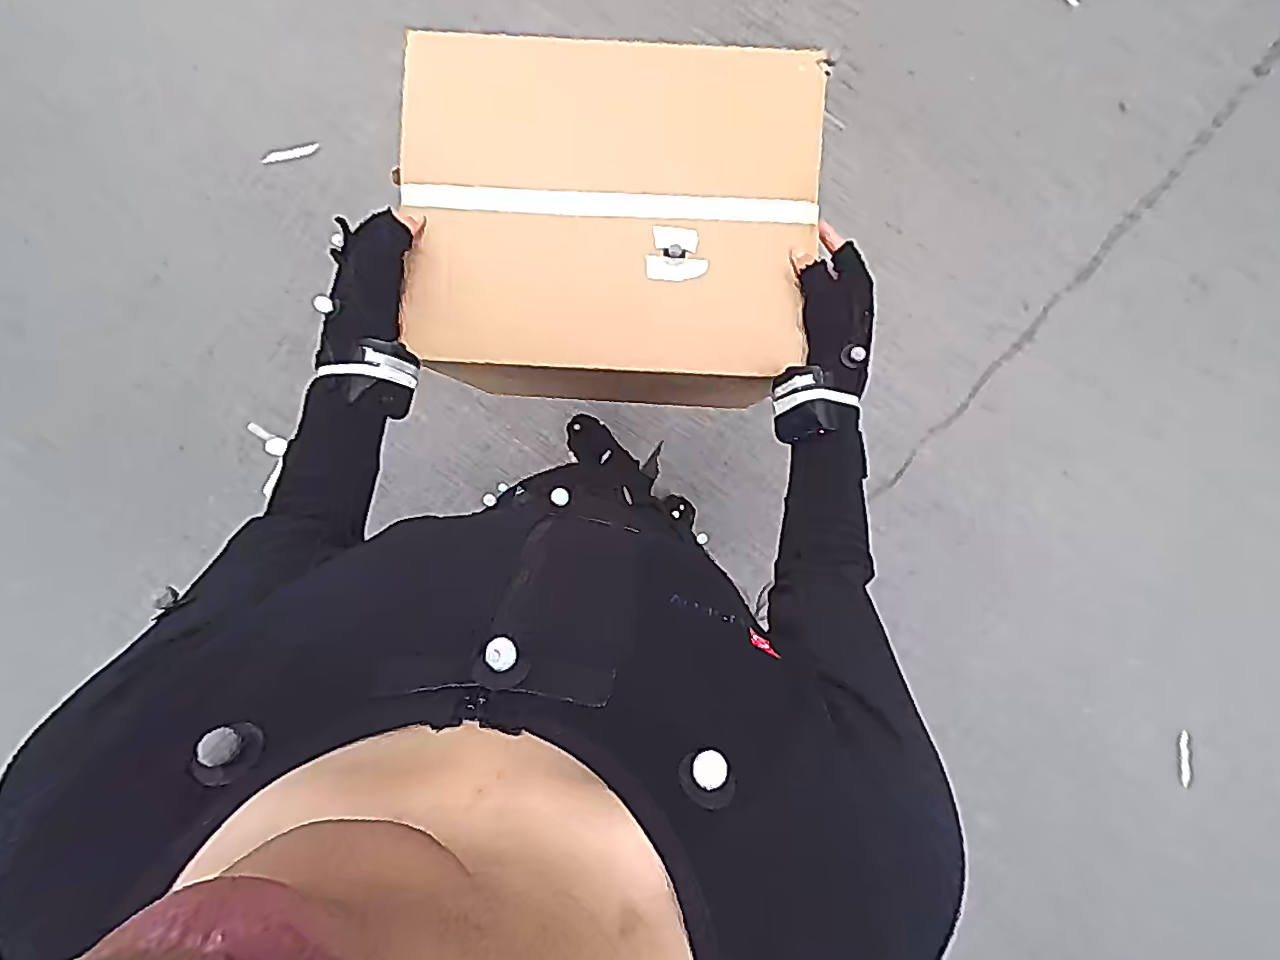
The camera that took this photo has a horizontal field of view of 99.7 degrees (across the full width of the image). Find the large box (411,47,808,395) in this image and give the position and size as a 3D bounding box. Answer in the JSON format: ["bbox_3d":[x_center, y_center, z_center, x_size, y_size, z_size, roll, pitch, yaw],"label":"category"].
[{"bbox_3d":[-0.034,-0.283,0.694,0.408,0.320,0.320,2,93,0],"label":"large box"}]
